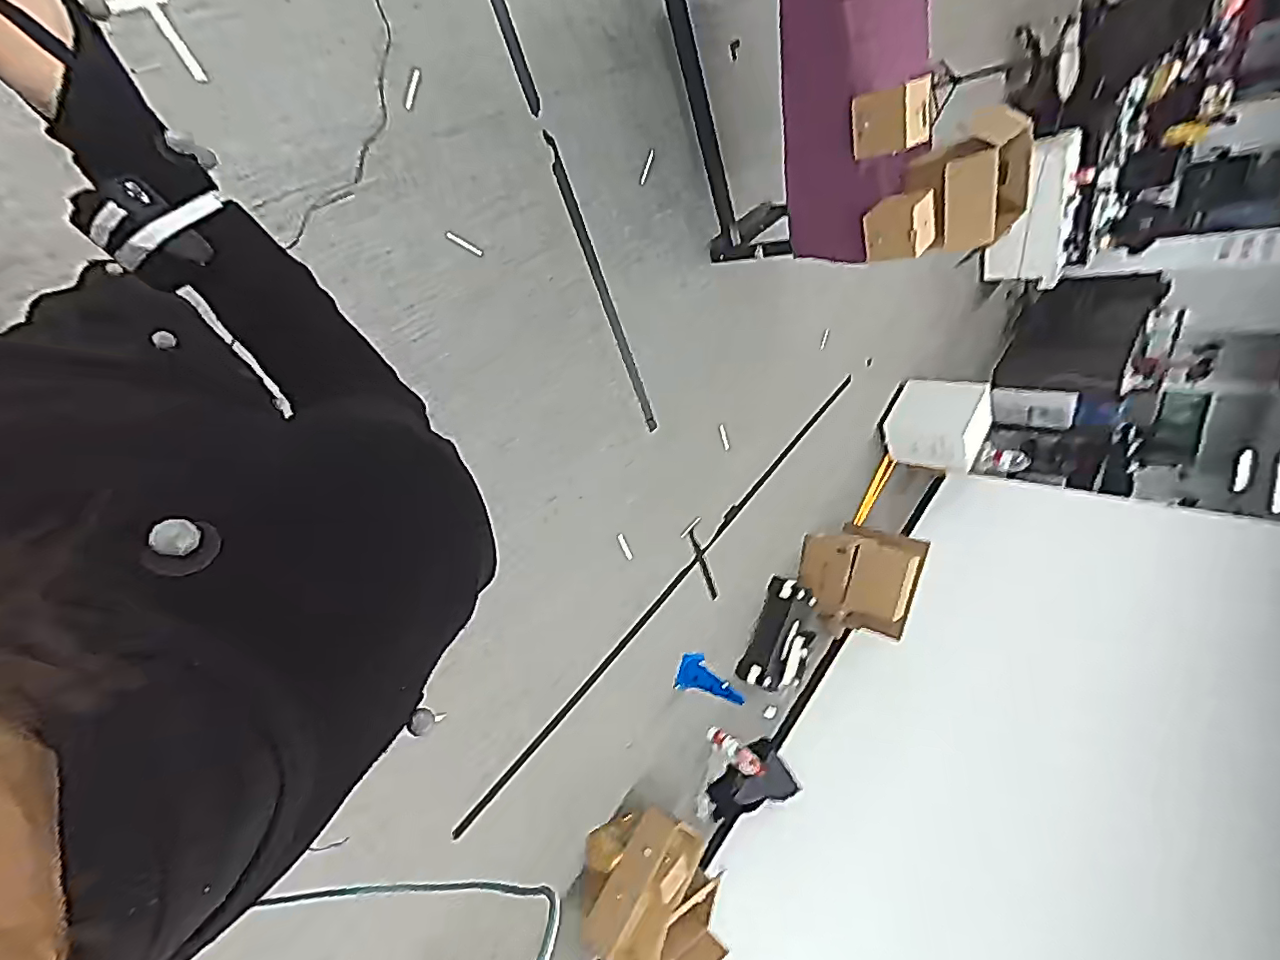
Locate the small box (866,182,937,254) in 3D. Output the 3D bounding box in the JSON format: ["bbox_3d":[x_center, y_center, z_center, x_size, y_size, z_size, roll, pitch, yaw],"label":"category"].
[{"bbox_3d":[0.903,-0.900,1.864,0.179,0.176,0.168,-44,128,-28],"label":"small box"}]

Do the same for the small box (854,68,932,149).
[{"bbox_3d":[0.786,-1.152,1.680,0.179,0.176,0.168,-37,125,-31],"label":"small box"}]
